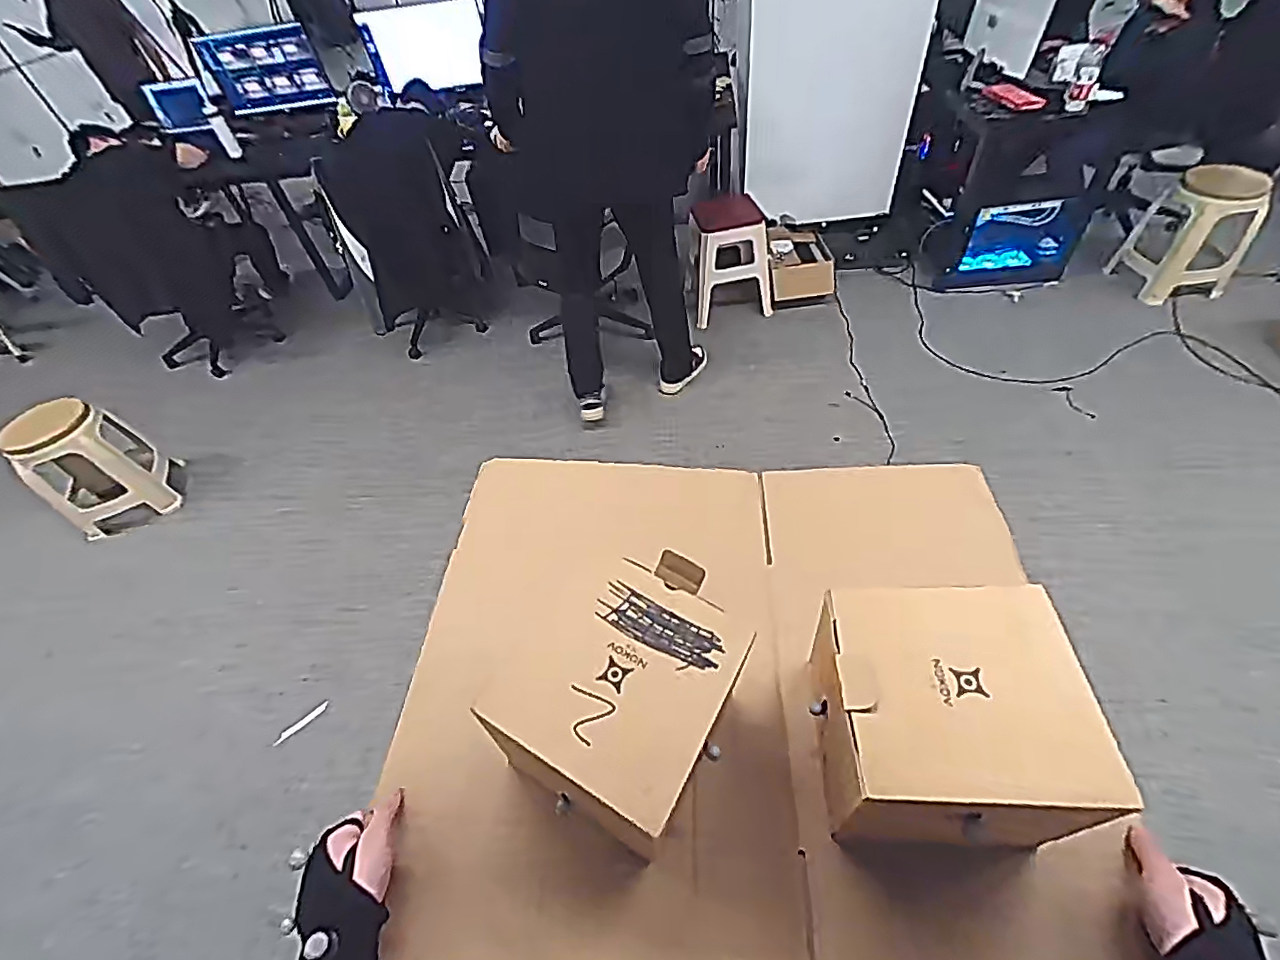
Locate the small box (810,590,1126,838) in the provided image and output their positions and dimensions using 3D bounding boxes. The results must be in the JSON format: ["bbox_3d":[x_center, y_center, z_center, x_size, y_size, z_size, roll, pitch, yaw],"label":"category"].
[{"bbox_3d":[0.261,0.212,0.487,0.179,0.176,0.168,-3,50,9],"label":"small box"}]
